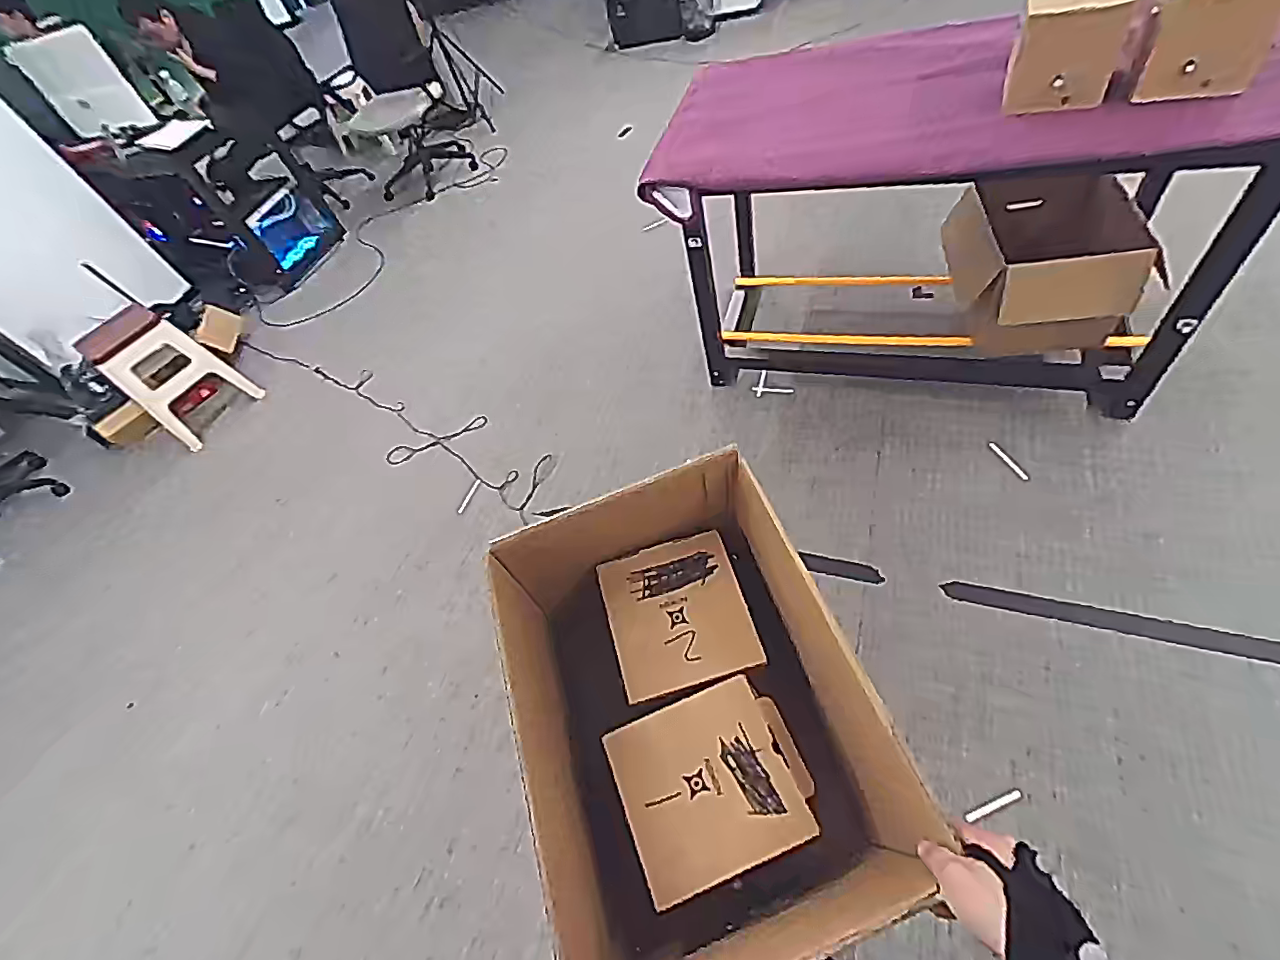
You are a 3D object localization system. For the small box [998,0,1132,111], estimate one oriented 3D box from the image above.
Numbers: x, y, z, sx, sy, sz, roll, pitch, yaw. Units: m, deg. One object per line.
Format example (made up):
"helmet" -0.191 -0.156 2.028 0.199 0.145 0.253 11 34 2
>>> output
"small box" 0.827 -0.863 1.069 0.168 0.176 0.179 11 58 24

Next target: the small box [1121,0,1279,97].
"small box" 1.021 -0.835 0.991 0.168 0.176 0.179 11 58 24
